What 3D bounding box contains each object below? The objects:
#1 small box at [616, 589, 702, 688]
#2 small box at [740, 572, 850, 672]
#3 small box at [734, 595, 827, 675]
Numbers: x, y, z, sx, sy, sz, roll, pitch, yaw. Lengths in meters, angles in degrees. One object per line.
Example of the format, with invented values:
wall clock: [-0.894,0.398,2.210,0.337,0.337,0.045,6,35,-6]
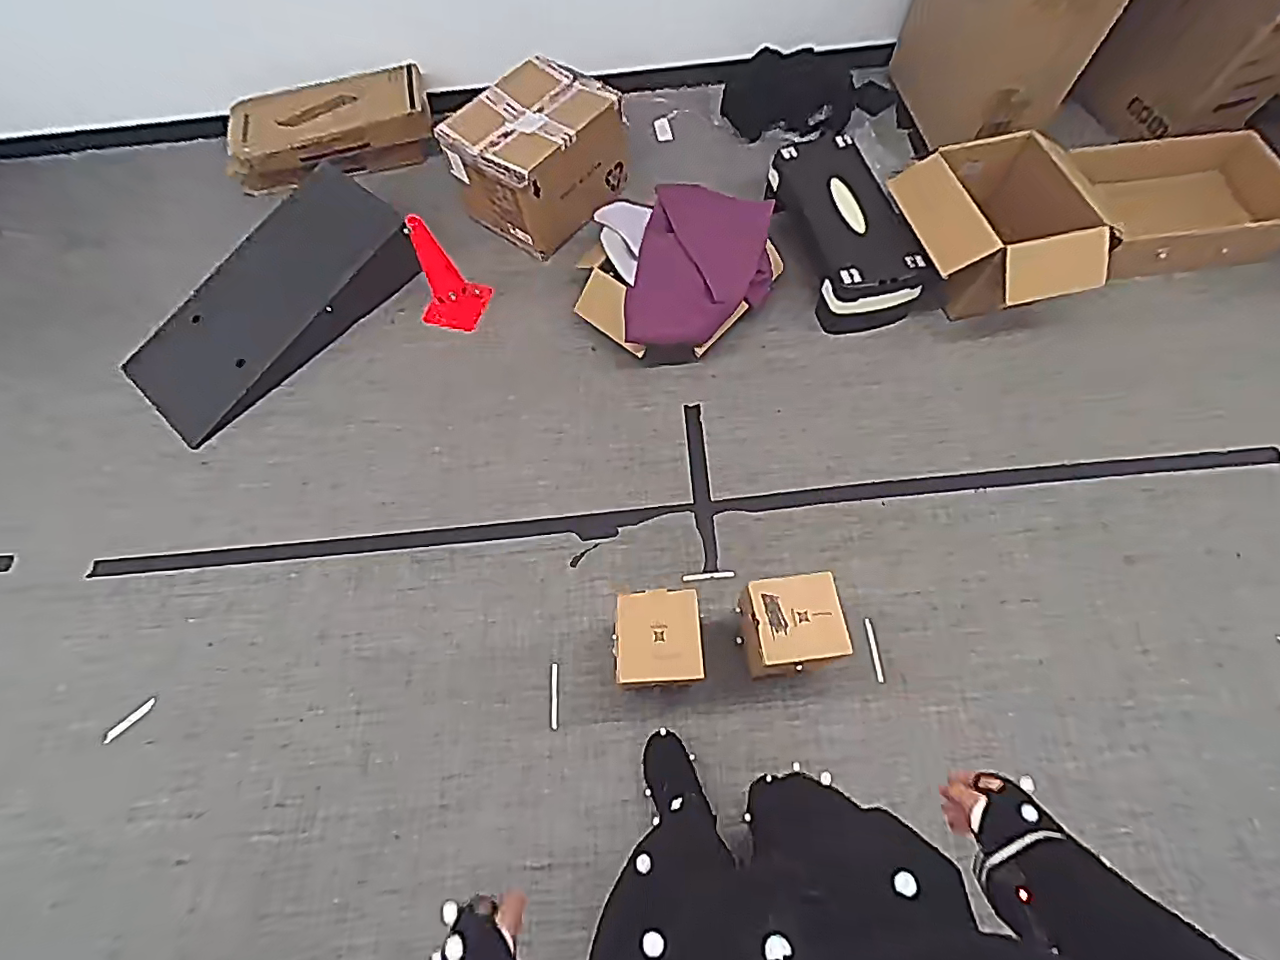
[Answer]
small box: [0.038,0.336,1.135,0.168,0.176,0.179,-4,67,2]
small box: [0.312,0.303,1.134,0.179,0.176,0.168,-7,66,-1]
small box: [0.326,0.366,1.287,0.168,0.176,0.179,-7,67,0]
